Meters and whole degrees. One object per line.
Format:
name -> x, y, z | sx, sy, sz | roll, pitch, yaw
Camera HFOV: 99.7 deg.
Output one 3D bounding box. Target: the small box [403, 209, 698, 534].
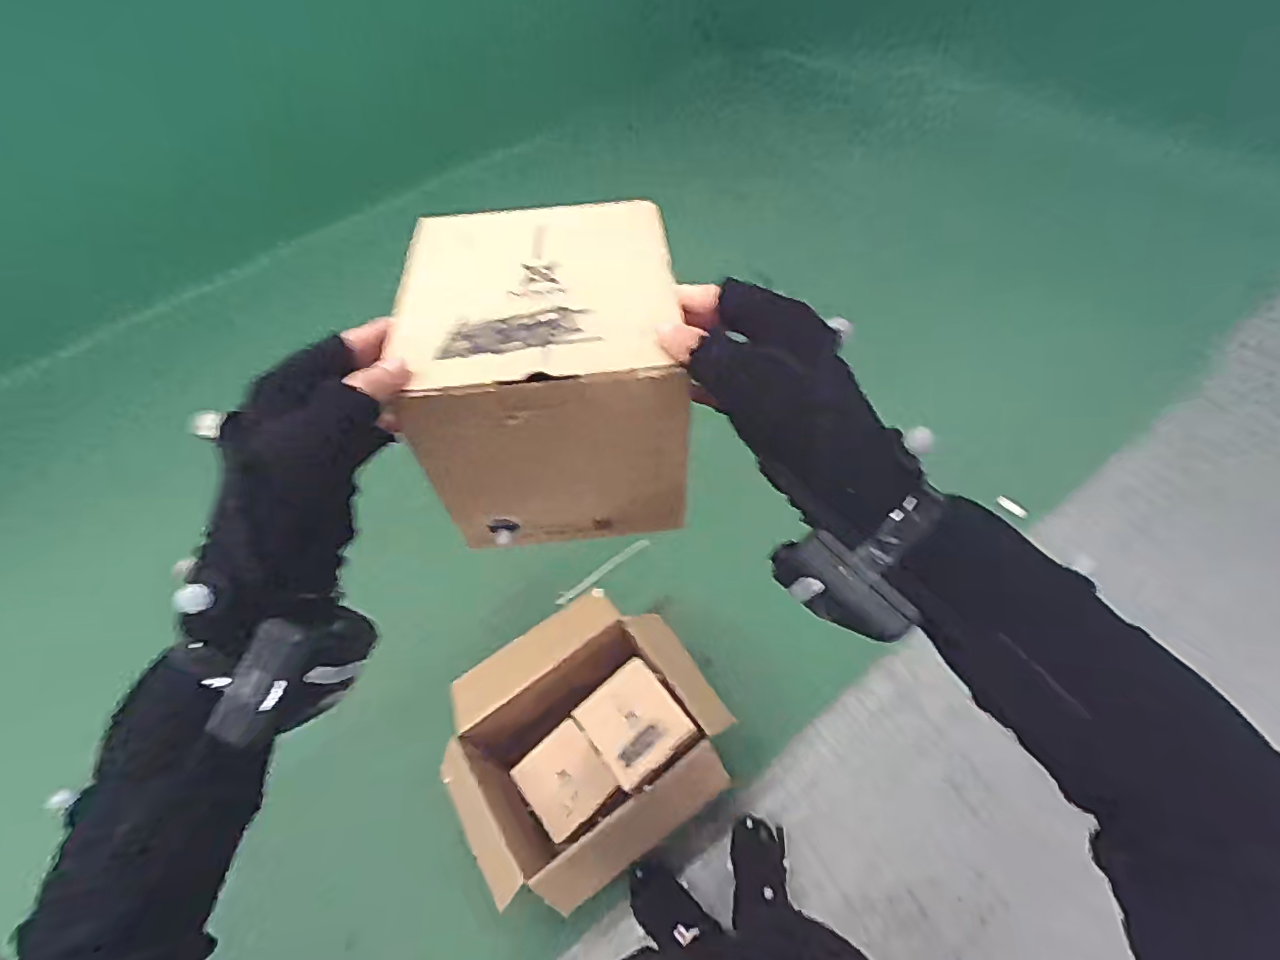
small box -> -0.050, -0.071, 0.402 | 0.168, 0.176, 0.179 | -5, 53, -1
